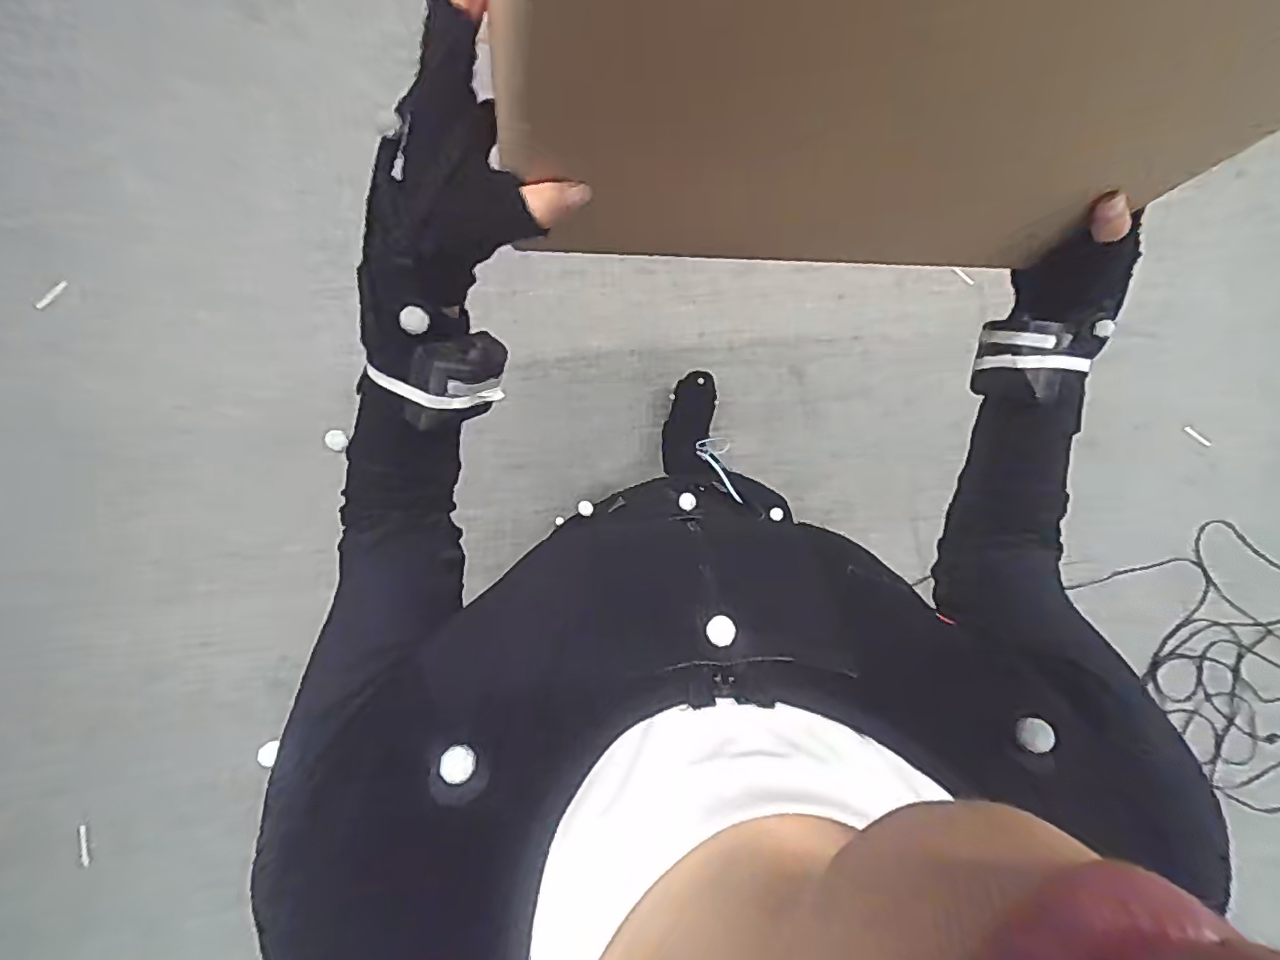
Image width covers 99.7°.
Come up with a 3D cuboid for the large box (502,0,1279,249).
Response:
[{"bbox_3d":[0.141,-0.331,0.248,0.408,0.320,0.320,-5,84,-17],"label":"large box"}]
